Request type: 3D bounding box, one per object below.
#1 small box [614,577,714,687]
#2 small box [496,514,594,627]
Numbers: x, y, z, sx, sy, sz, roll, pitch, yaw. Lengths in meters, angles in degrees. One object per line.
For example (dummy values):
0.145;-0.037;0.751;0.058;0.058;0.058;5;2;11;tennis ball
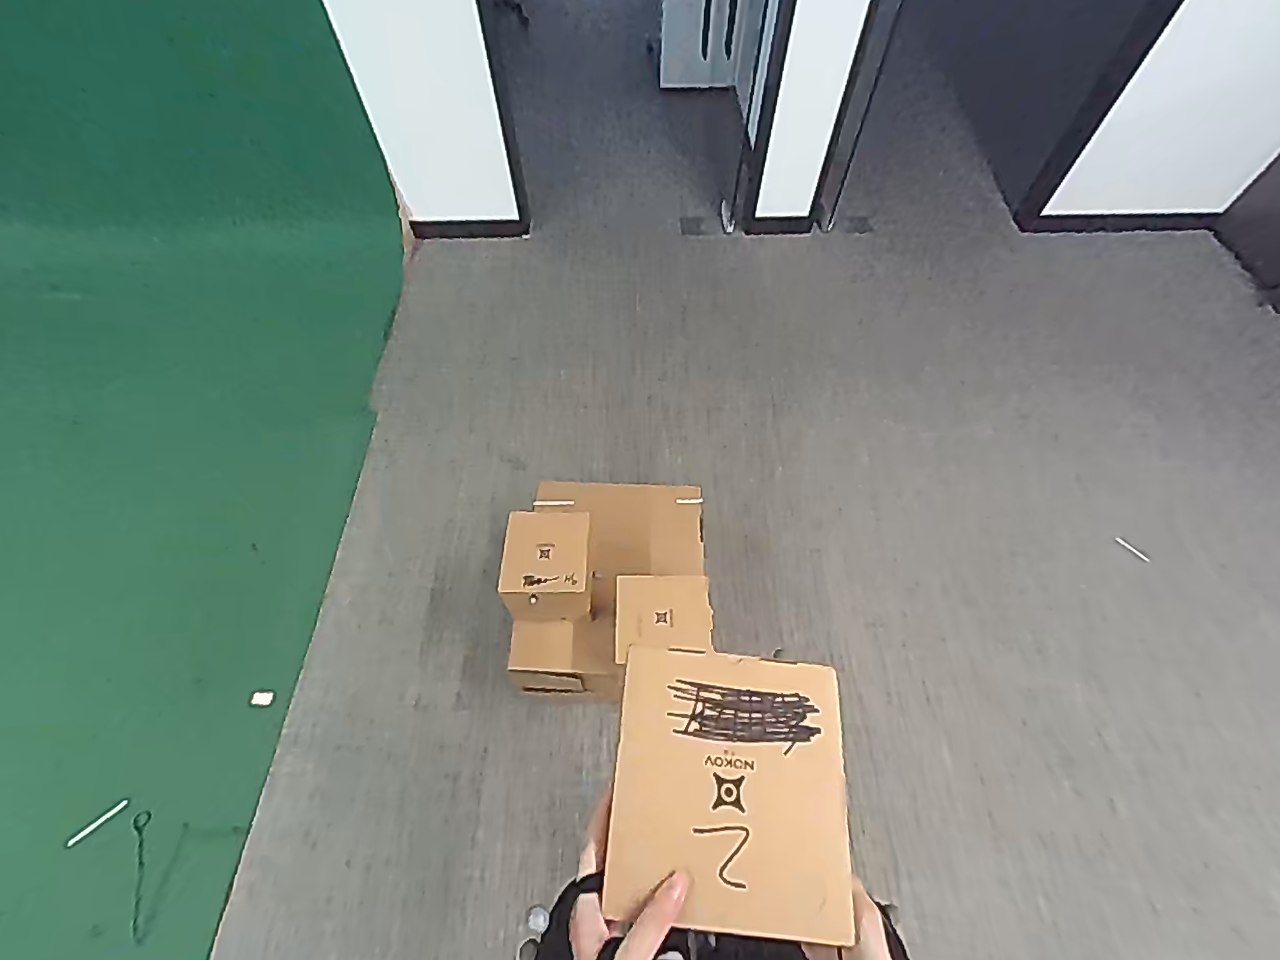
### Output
0.040;0.296;1.042;0.179;0.176;0.168;0;57;-1;small box
-0.184;0.187;1.110;0.168;0.176;0.179;0;56;0;small box
